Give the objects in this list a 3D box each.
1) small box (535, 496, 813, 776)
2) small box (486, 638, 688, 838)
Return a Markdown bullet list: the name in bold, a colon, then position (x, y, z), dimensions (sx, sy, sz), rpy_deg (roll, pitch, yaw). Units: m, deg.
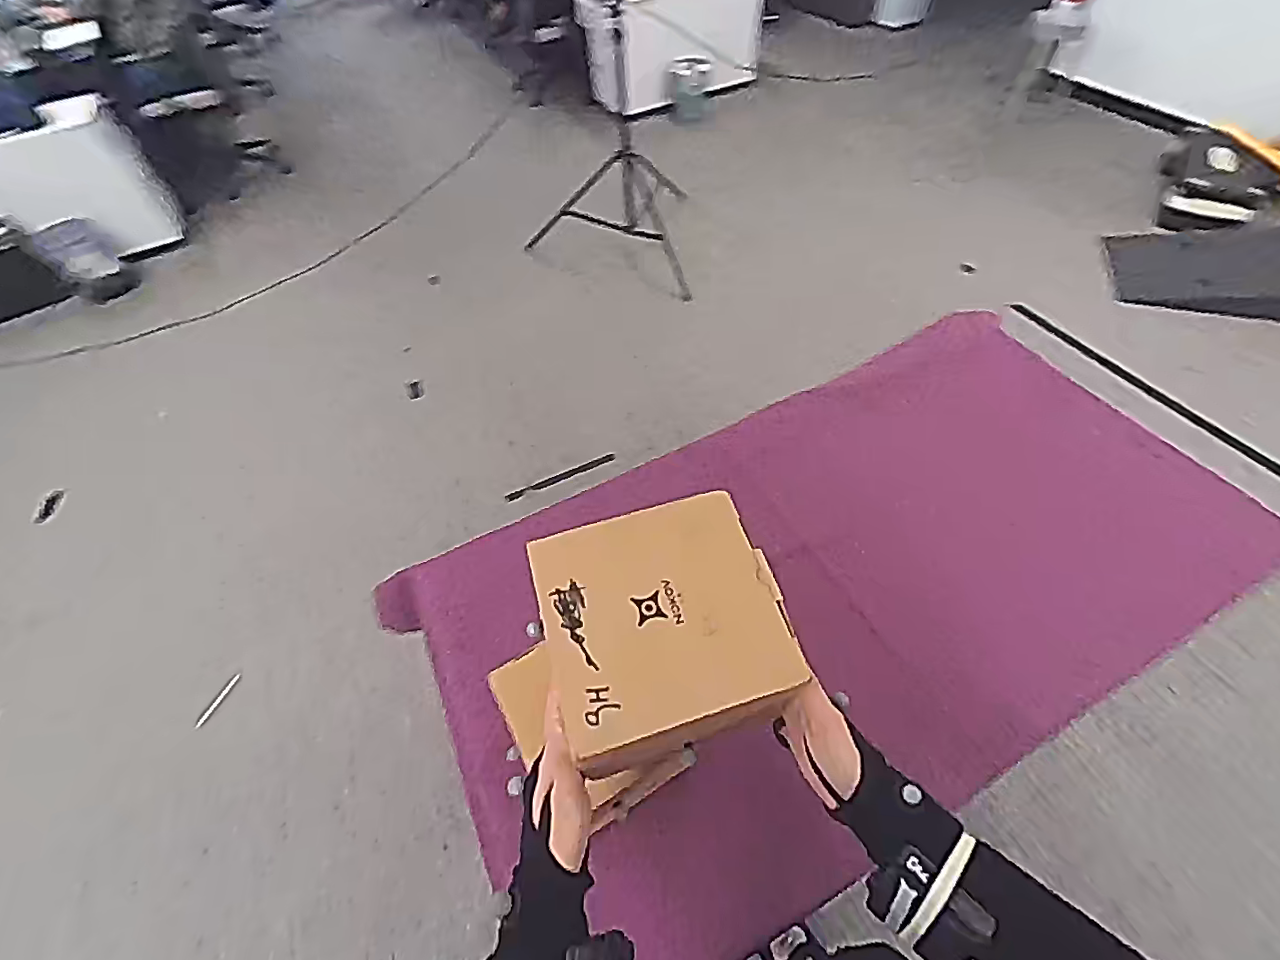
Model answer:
- **small box**: position (0.017, 0.140, 0.472), dimensions (0.179, 0.176, 0.168), rpy_deg (-13, 57, -10)
- **small box**: position (-0.052, 0.285, 0.634), dimensions (0.168, 0.176, 0.179), rpy_deg (-28, 56, -16)
